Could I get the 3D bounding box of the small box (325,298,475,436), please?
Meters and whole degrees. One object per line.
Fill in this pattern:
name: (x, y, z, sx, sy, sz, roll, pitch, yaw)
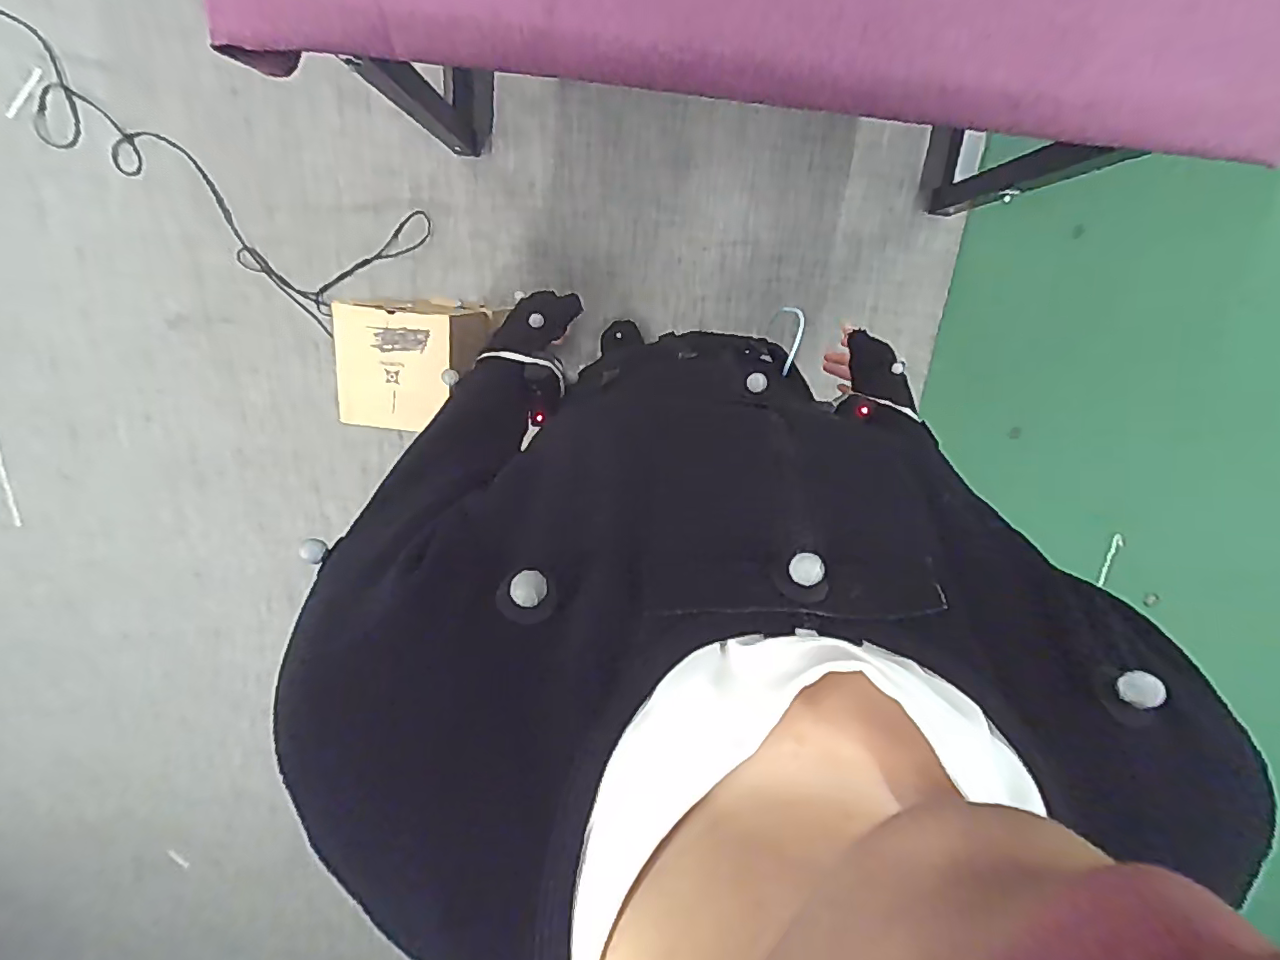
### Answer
small box: (-0.365, -0.184, 0.849, 0.168, 0.176, 0.179, 7, 110, -2)
